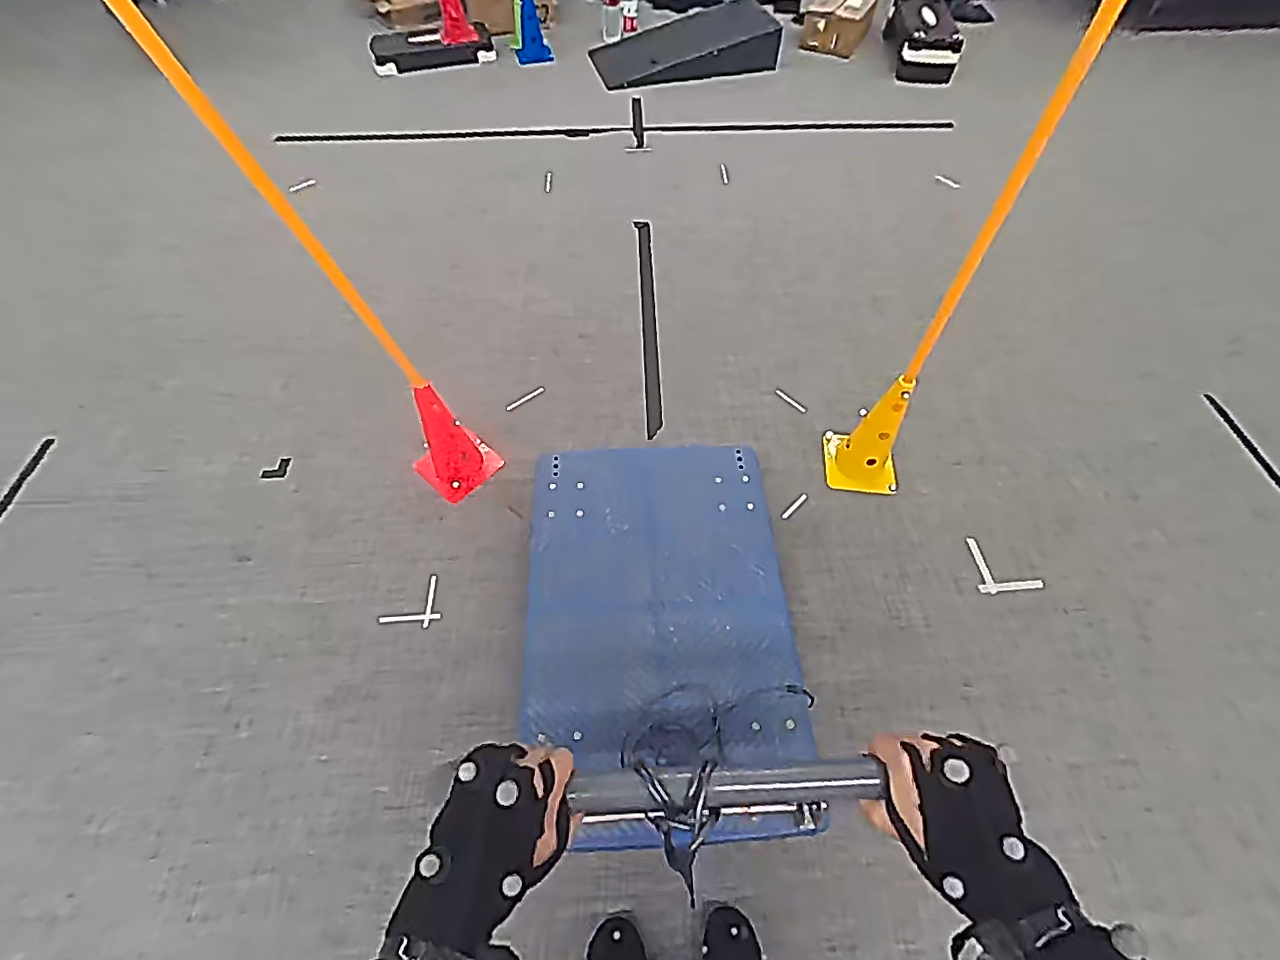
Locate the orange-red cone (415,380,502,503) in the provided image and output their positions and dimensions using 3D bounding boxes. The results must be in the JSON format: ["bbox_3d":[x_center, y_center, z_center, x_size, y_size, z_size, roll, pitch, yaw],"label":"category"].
[{"bbox_3d":[-0.530,-0.134,1.452,0.198,0.360,0.199,38,63,20],"label":"orange-red cone"}]
